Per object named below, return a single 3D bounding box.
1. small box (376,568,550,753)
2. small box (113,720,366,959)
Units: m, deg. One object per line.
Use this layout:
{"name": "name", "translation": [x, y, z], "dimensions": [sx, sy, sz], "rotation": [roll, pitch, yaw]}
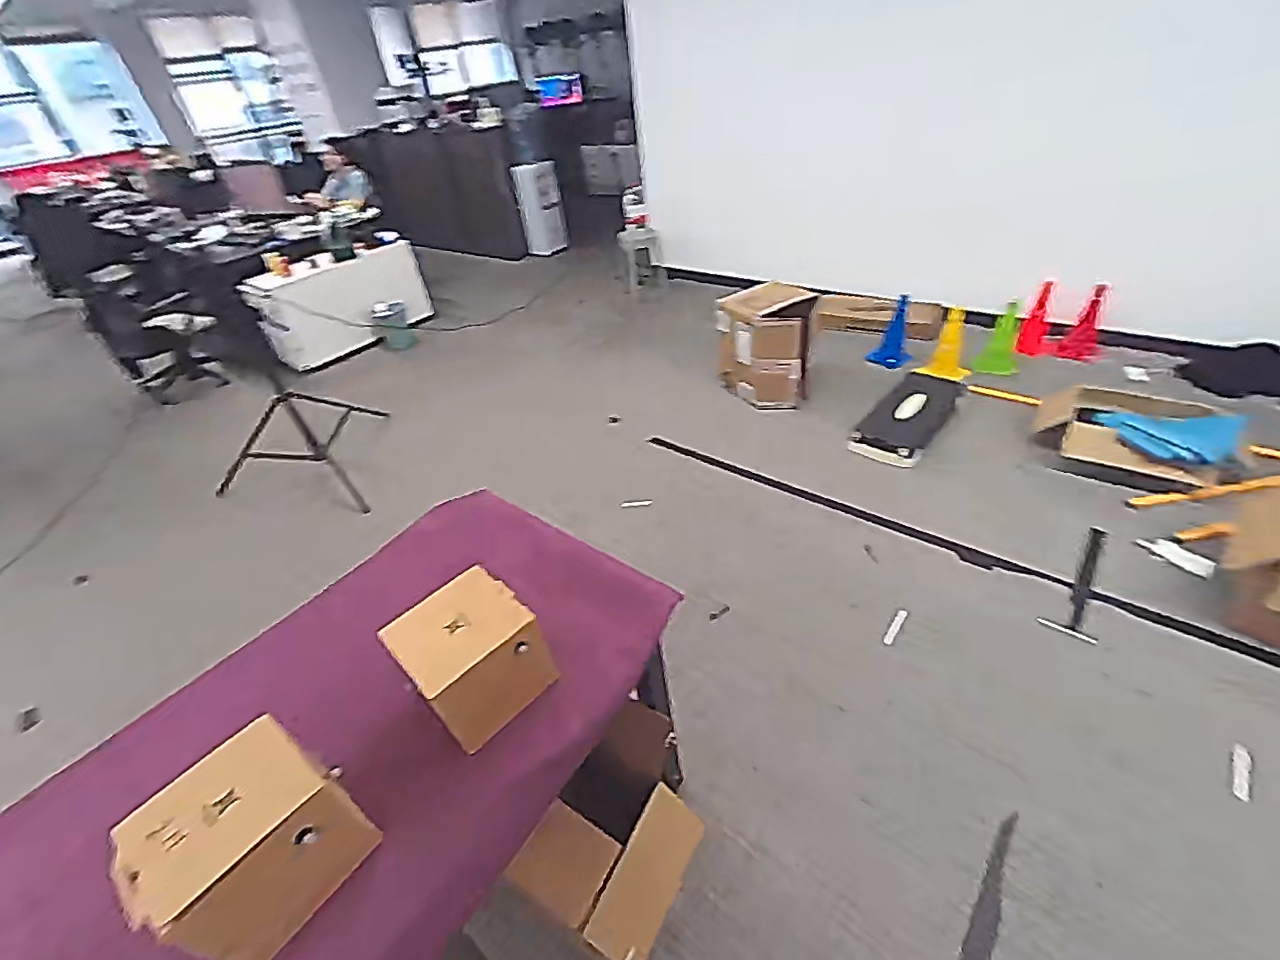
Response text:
{"name": "small box", "translation": [-0.264, 0.279, 0.840], "dimensions": [0.168, 0.176, 0.179], "rotation": [27, 50, 36]}
{"name": "small box", "translation": [-0.471, 0.446, 0.665], "dimensions": [0.168, 0.176, 0.179], "rotation": [18, 45, 33]}
